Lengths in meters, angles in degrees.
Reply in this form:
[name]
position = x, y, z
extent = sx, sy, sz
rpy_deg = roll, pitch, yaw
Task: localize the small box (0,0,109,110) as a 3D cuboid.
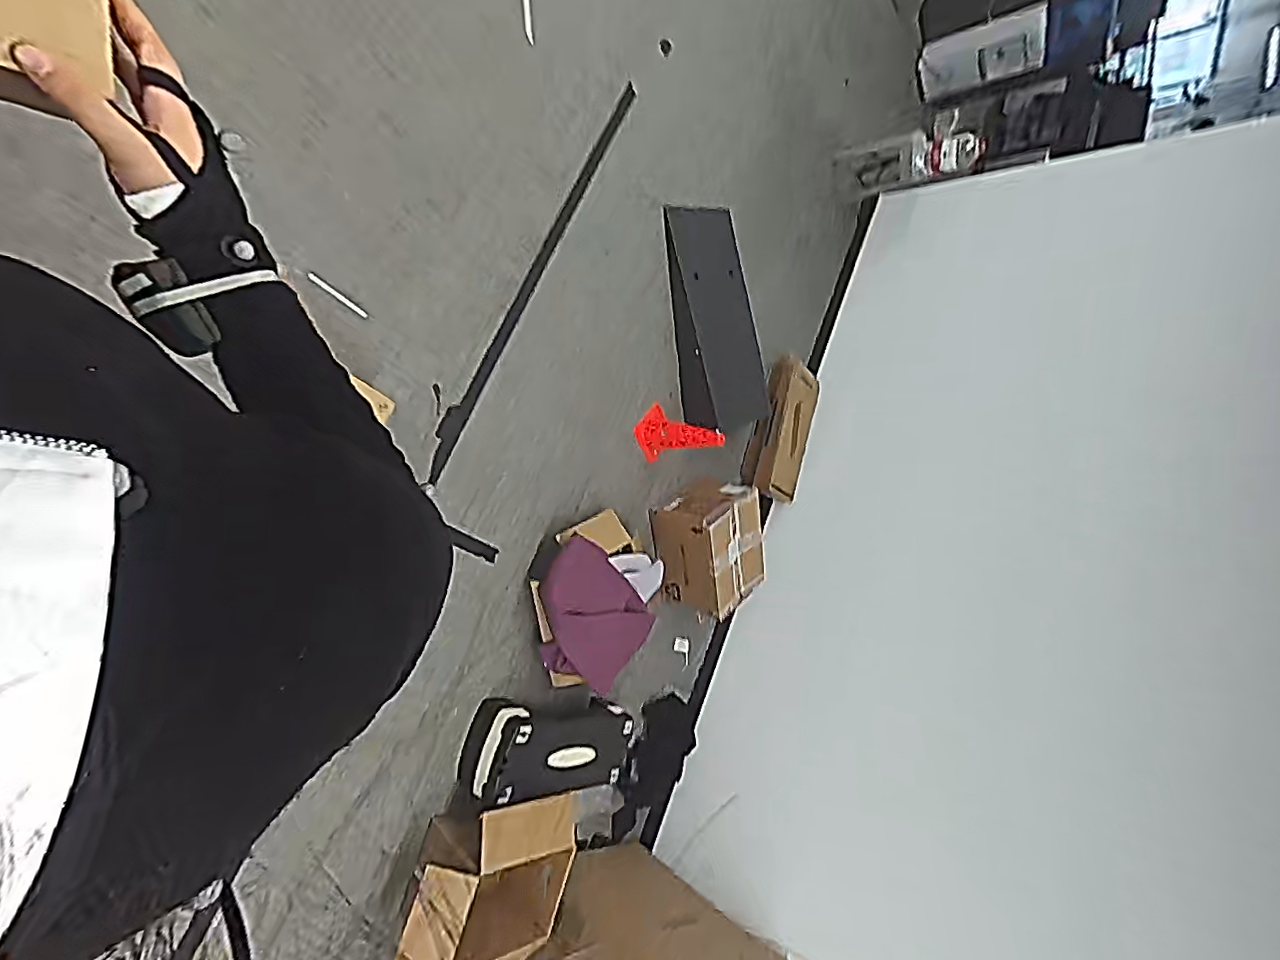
[small box]
position = -0.420, -0.320, 0.284
extent = 0.179, 0.176, 0.168
rpy_deg = -10, 116, -52
